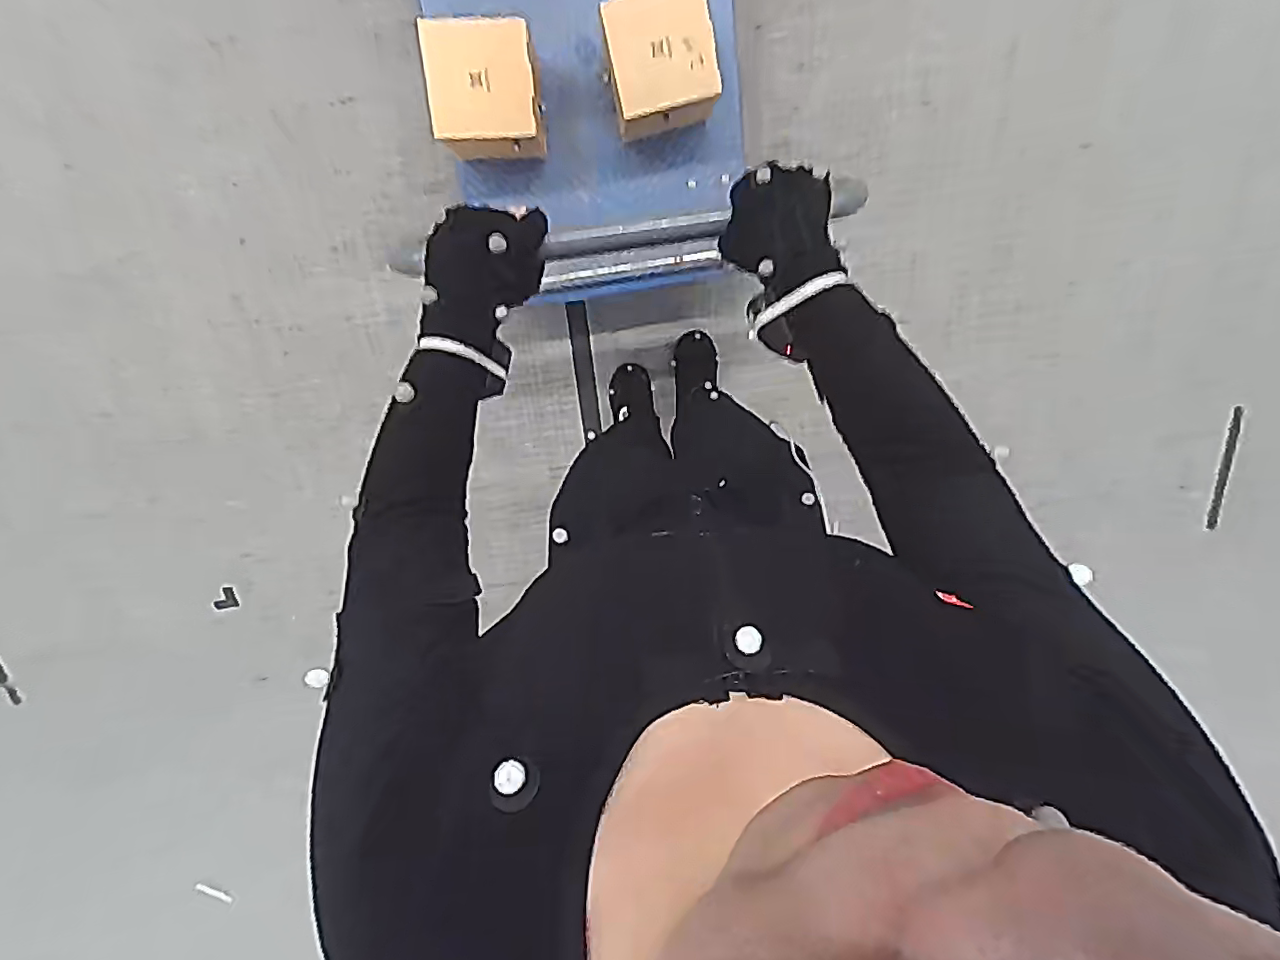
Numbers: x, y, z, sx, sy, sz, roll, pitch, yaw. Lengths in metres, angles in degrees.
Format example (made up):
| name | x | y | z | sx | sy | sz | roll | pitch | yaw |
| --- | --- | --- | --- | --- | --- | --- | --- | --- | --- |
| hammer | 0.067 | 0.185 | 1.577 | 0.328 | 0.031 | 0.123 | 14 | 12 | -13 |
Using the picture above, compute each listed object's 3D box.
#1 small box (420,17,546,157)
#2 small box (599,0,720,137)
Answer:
| name | x | y | z | sx | sy | sz | roll | pitch | yaw |
| --- | --- | --- | --- | --- | --- | --- | --- | --- | --- |
| small box | -0.270 | -0.693 | 0.972 | 0.179 | 0.176 | 0.168 | -4 | 110 | -3 |
| small box | 0.033 | -0.744 | 0.970 | 0.179 | 0.176 | 0.168 | -14 | 111 | 2 |
